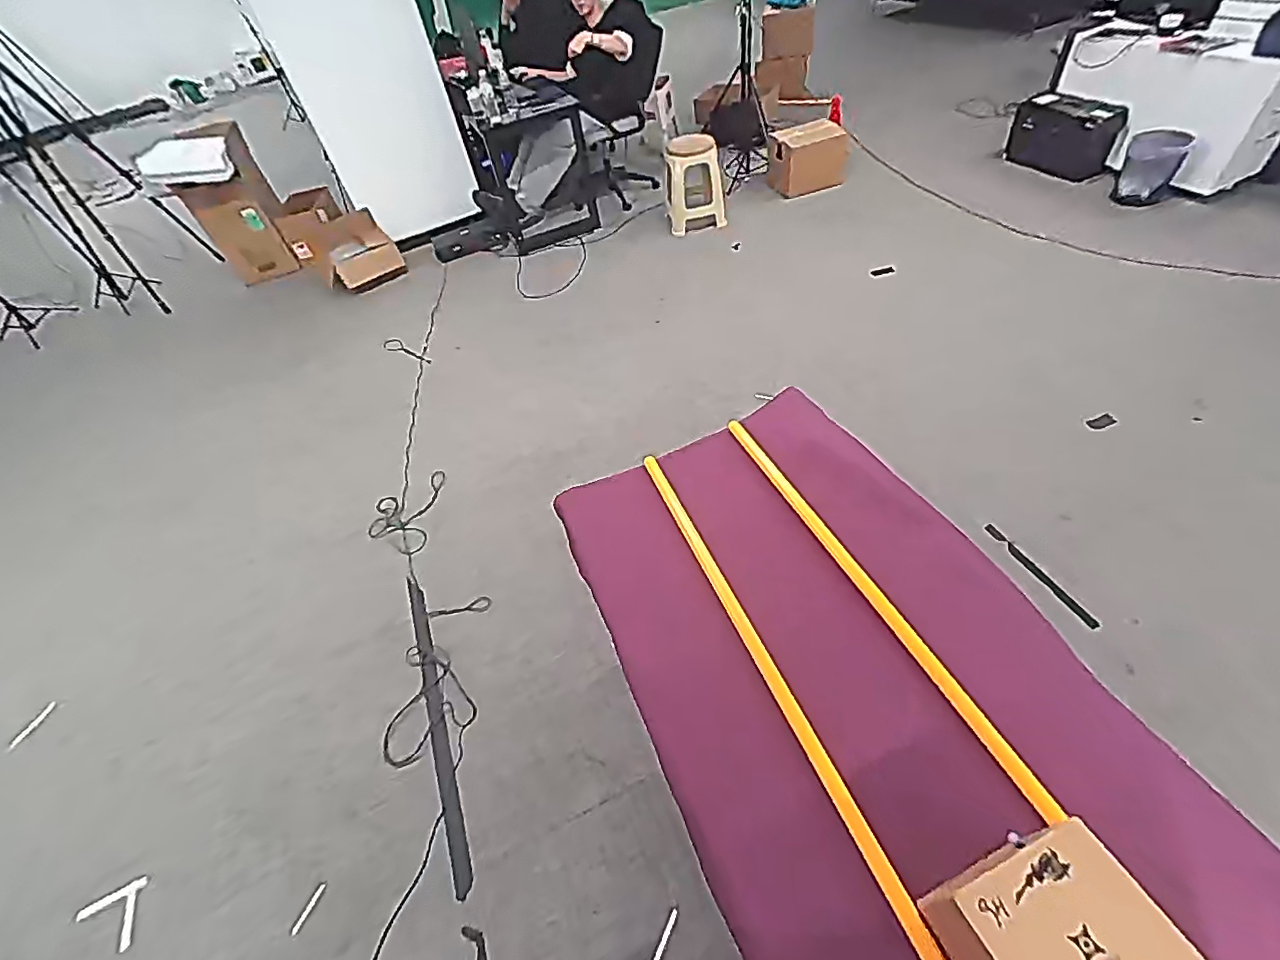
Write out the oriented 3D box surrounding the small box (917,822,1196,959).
[{"bbox_3d":[0.427,0.493,0.558,0.168,0.176,0.179,-23,50,-9],"label":"small box"}]
